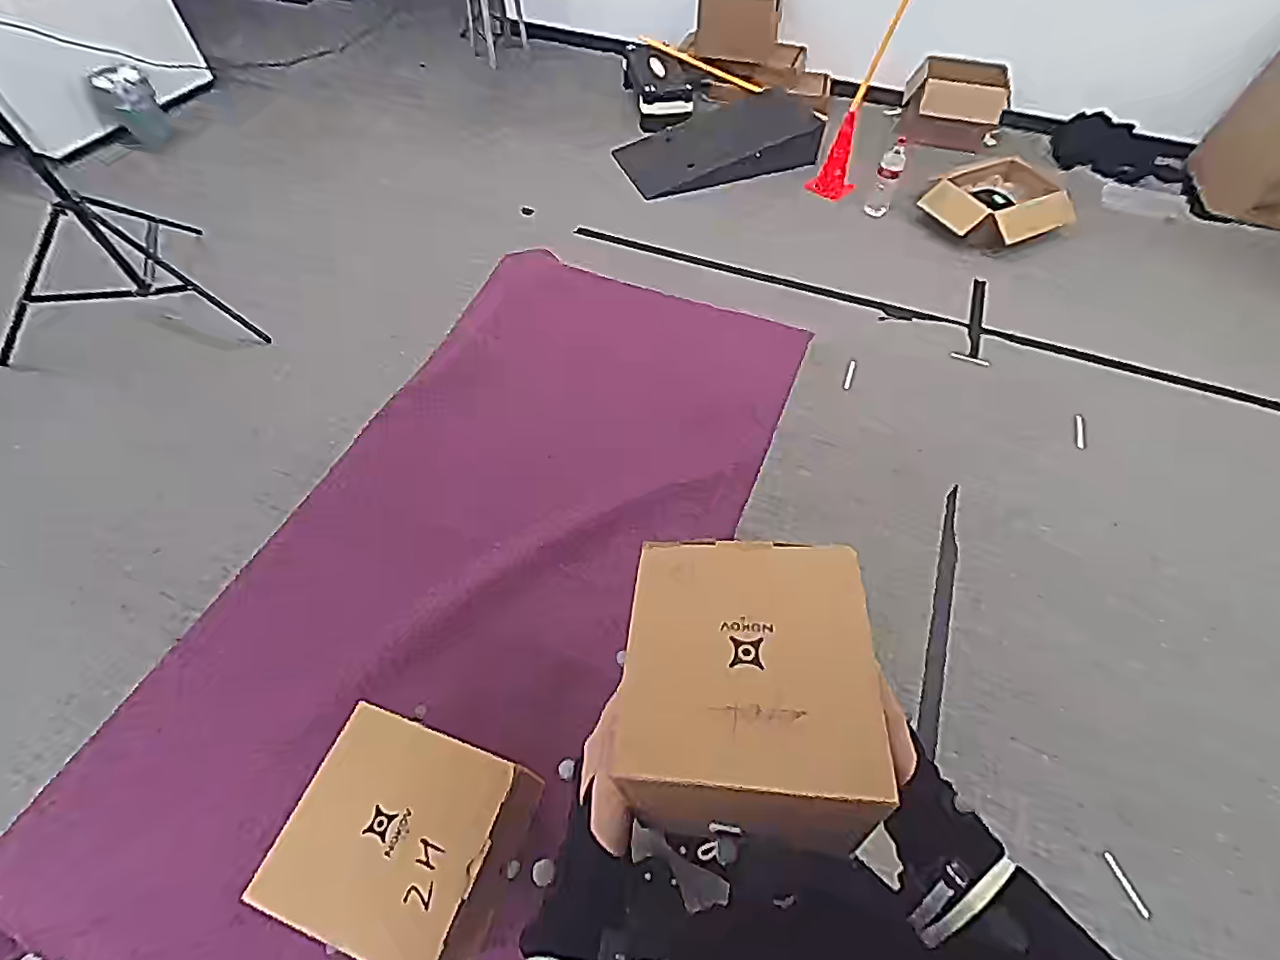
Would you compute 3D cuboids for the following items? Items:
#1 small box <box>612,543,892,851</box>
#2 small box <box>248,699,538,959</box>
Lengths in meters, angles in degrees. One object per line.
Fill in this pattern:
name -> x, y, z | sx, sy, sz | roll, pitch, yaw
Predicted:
small box -> 0.083, 0.170, 0.430 | 0.168, 0.176, 0.179 | 0, 48, 11
small box -> -0.222, 0.347, 0.543 | 0.179, 0.176, 0.168 | 17, 58, 10
